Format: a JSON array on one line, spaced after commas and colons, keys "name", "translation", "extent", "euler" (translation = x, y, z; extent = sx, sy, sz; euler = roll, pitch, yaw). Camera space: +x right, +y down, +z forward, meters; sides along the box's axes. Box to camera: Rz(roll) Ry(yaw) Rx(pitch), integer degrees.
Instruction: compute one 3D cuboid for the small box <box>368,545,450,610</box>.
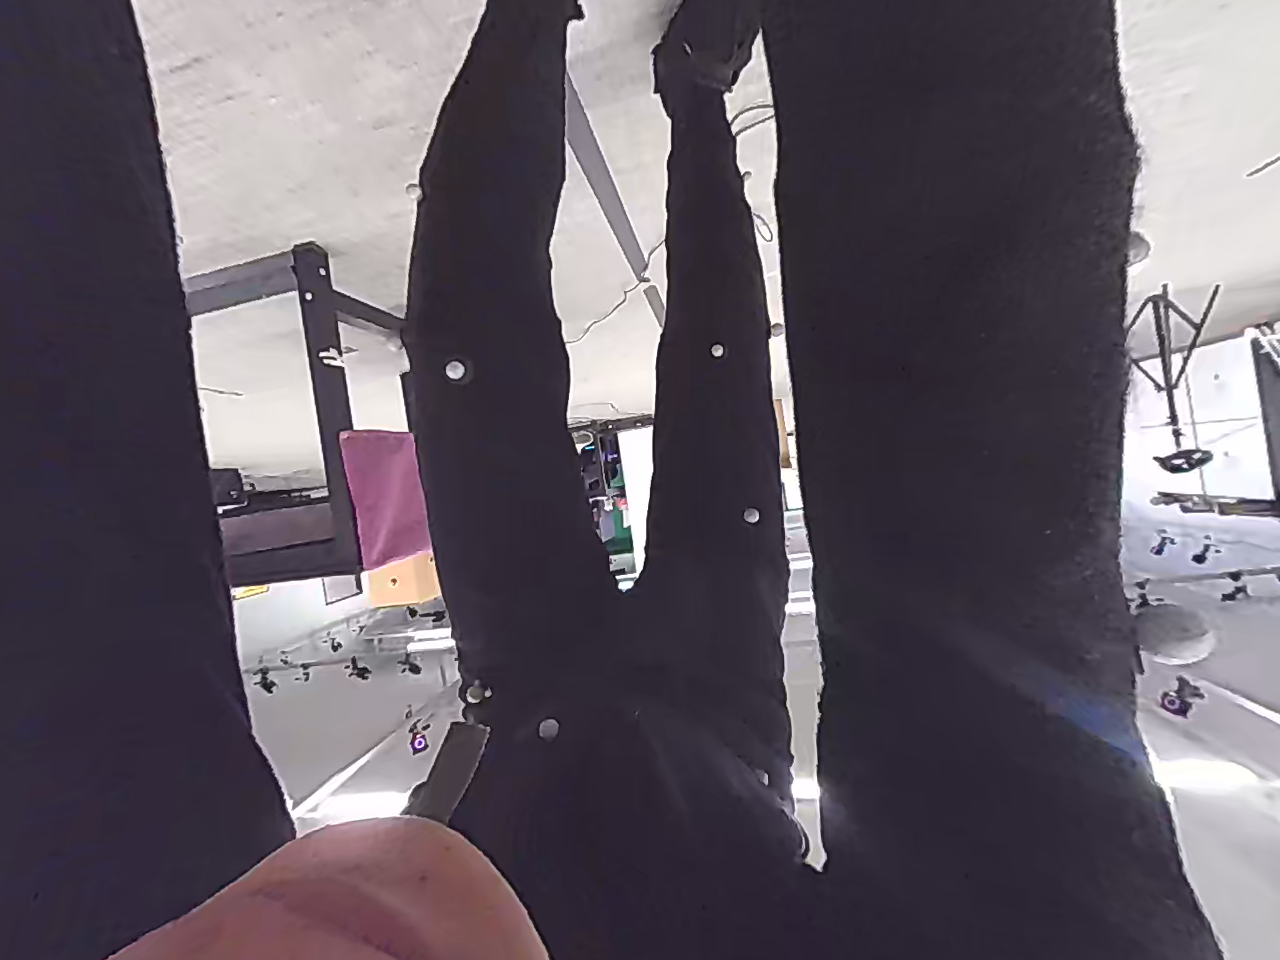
[{"name": "small box", "translation": [-0.736, 0.304, 1.716], "extent": [0.179, 0.176, 0.168], "euler": [-10, 180, 15]}]
